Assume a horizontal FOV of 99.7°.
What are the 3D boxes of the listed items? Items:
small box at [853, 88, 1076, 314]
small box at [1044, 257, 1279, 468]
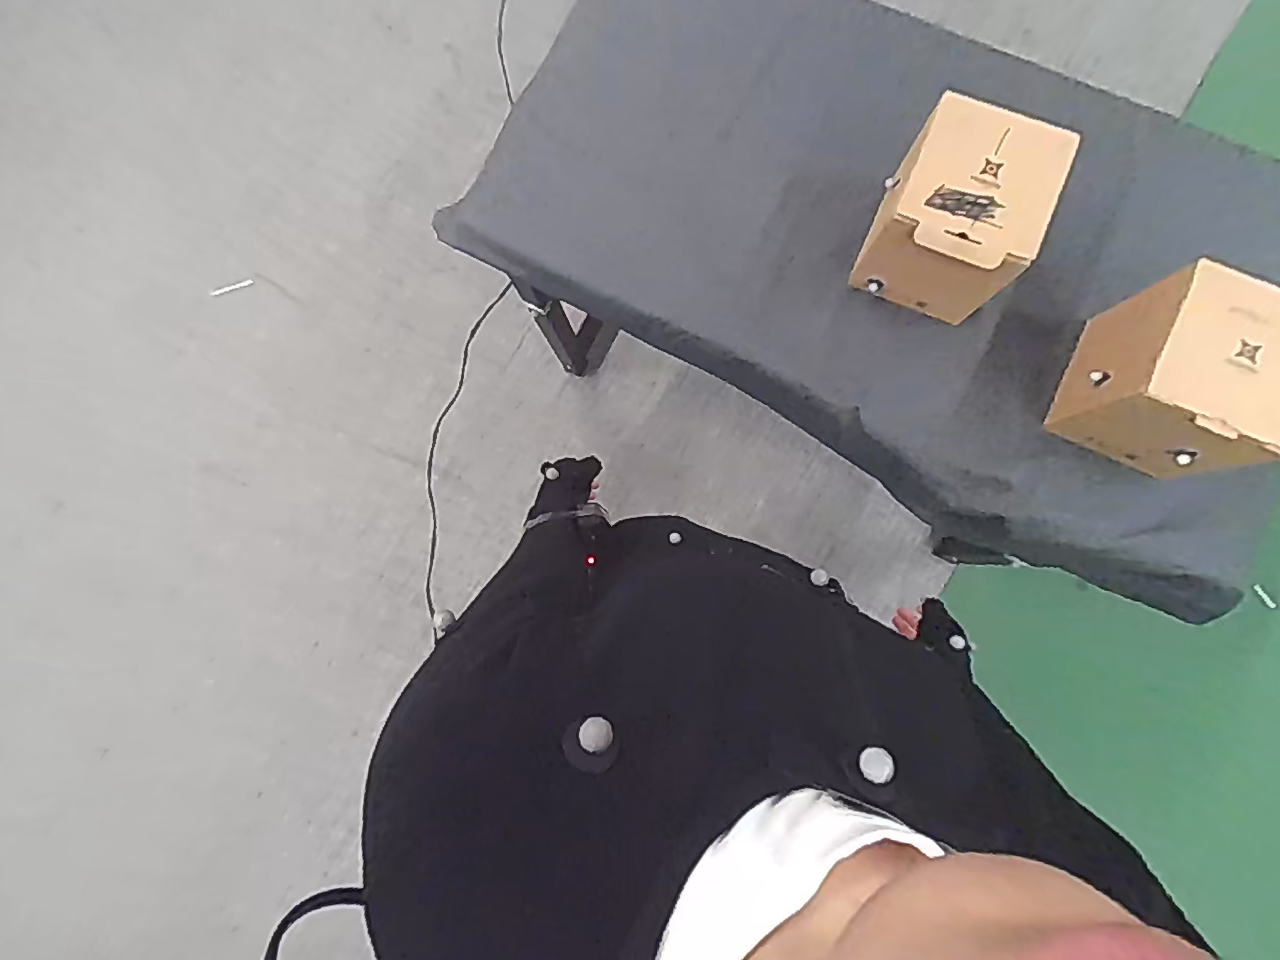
[{"bbox_3d":[0.403,-0.348,0.707,0.168,0.176,0.179,24,84,5],"label":"small box"},{"bbox_3d":[0.654,-0.130,0.670,0.168,0.176,0.179,26,84,5],"label":"small box"}]
